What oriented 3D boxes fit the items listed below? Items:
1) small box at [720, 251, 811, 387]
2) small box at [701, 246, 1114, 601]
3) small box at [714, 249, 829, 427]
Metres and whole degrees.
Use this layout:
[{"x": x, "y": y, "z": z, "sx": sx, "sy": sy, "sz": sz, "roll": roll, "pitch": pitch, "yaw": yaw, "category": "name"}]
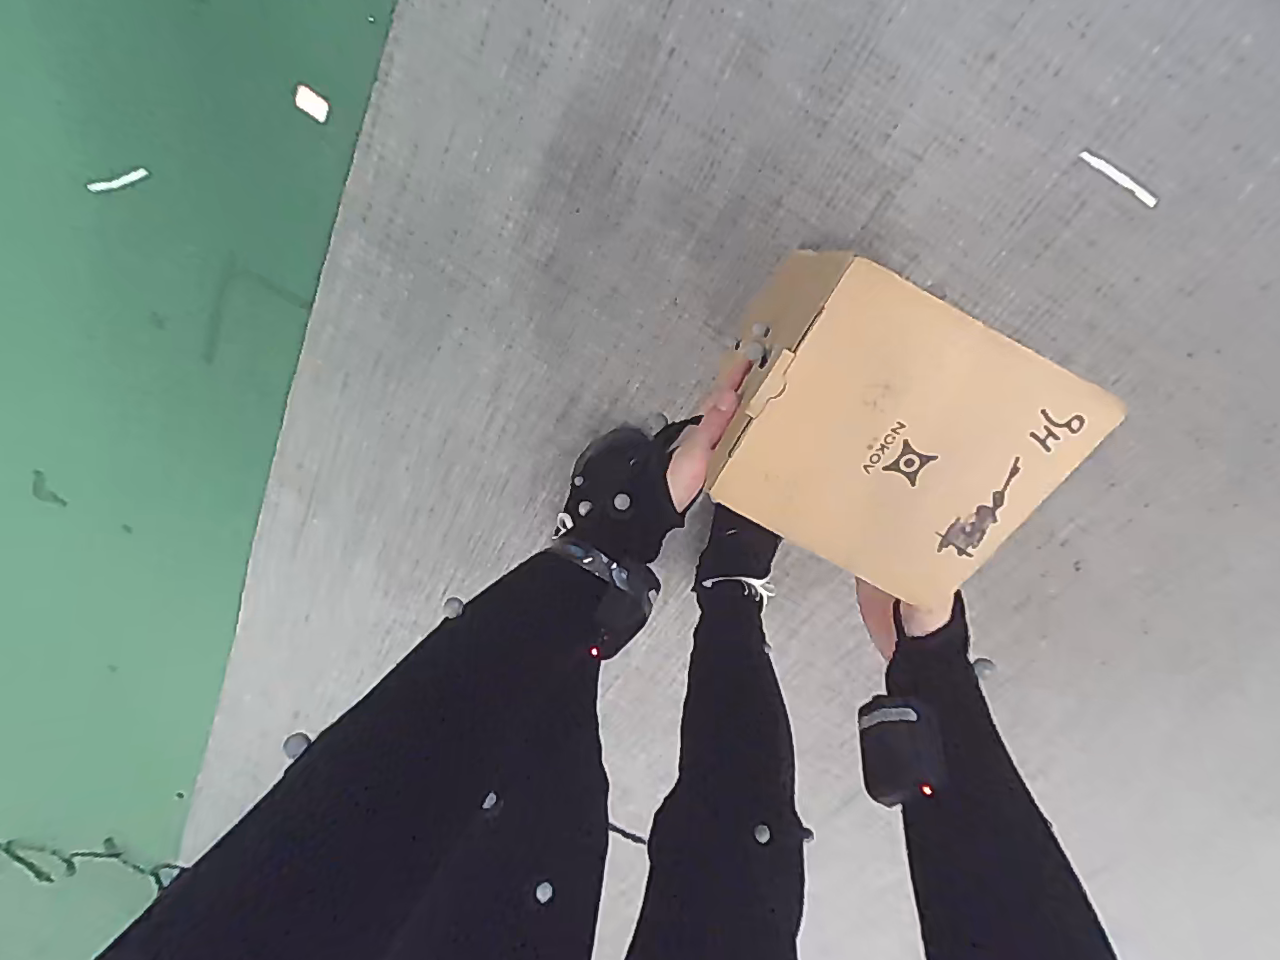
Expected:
[{"x": 0.223, "y": -0.174, "z": 0.701, "sx": 0.168, "sy": 0.176, "sz": 0.179, "roll": 31, "pitch": 116, "yaw": -4, "category": "small box"}, {"x": 0.166, "y": -0.052, "z": 0.401, "sx": 0.179, "sy": 0.176, "sz": 0.168, "roll": 28, "pitch": 116, "yaw": 0, "category": "small box"}, {"x": 0.193, "y": -0.110, "z": 0.551, "sx": 0.168, "sy": 0.176, "sz": 0.179, "roll": 29, "pitch": 113, "yaw": -1, "category": "small box"}]
